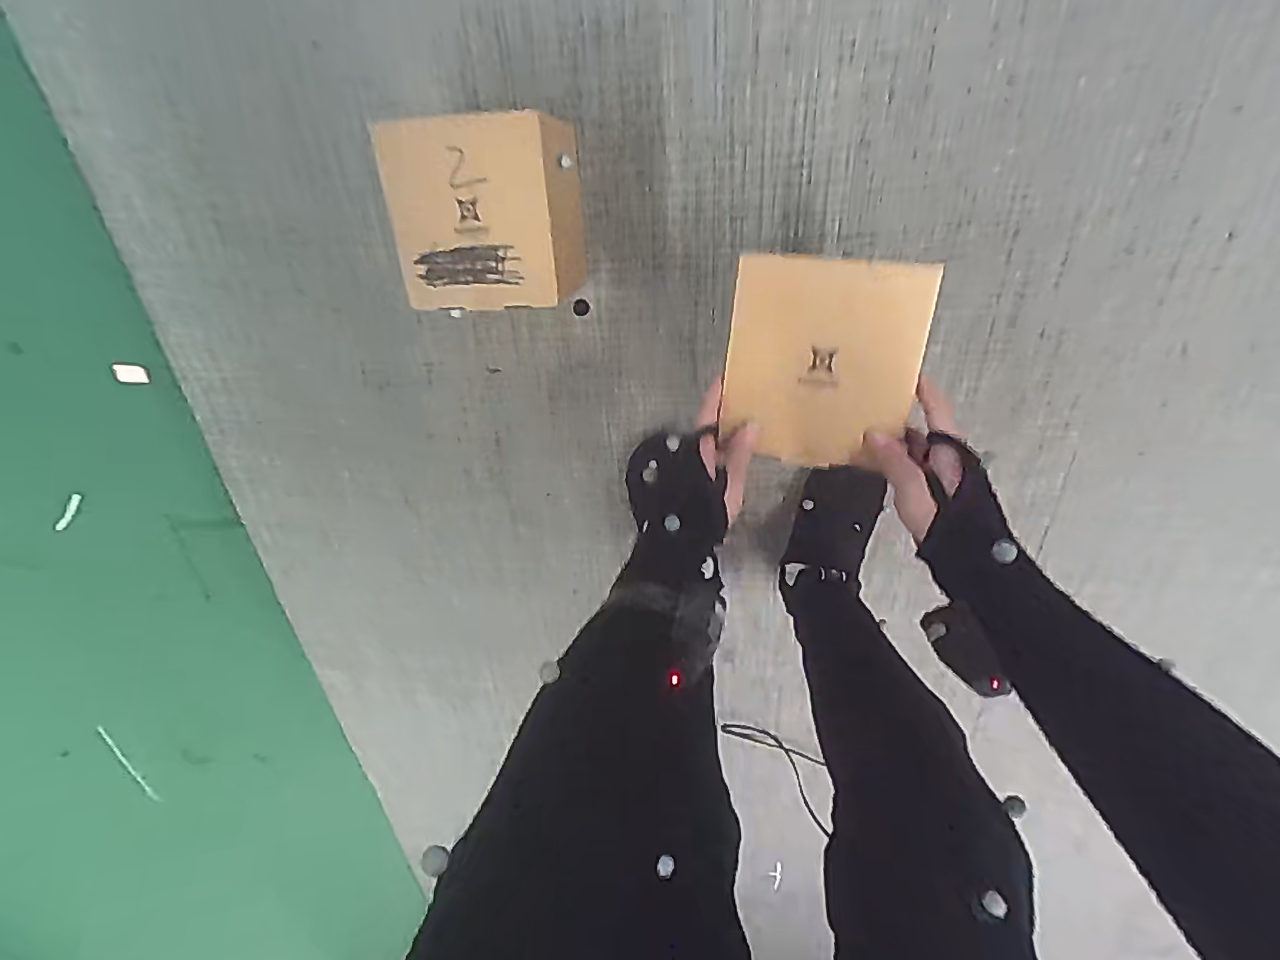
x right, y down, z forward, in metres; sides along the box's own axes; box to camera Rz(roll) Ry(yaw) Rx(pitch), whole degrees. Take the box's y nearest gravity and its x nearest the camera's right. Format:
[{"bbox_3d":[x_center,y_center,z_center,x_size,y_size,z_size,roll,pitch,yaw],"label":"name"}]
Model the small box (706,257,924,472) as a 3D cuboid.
[{"bbox_3d":[0.157,-0.121,0.549,0.168,0.176,0.179,6,109,7],"label":"small box"}]
